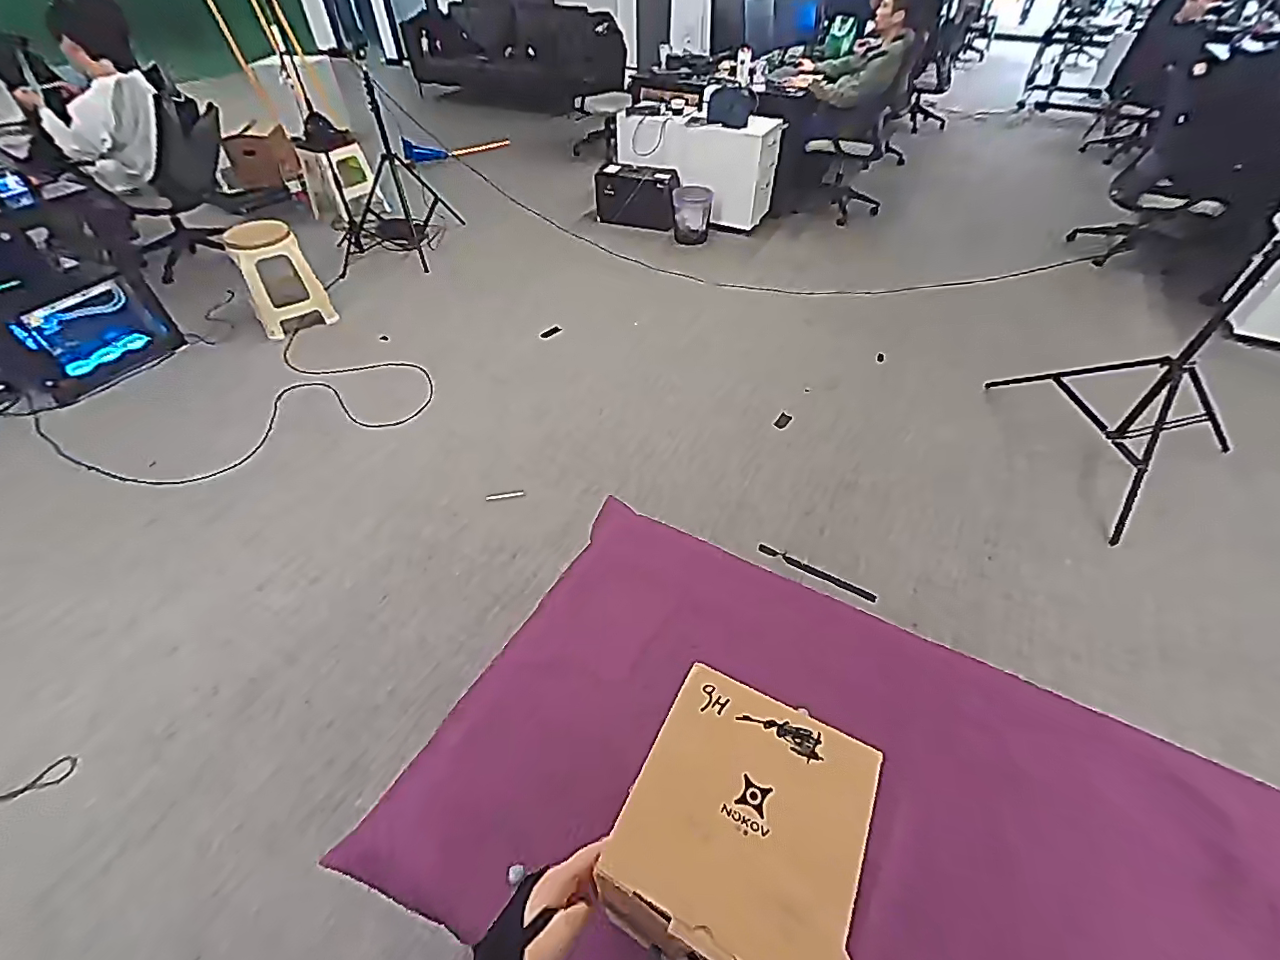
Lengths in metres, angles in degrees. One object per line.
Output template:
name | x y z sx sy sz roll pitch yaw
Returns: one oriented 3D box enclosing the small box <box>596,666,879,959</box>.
small box | 0.080 0.304 0.464 0.168 0.176 0.179 21 49 19
